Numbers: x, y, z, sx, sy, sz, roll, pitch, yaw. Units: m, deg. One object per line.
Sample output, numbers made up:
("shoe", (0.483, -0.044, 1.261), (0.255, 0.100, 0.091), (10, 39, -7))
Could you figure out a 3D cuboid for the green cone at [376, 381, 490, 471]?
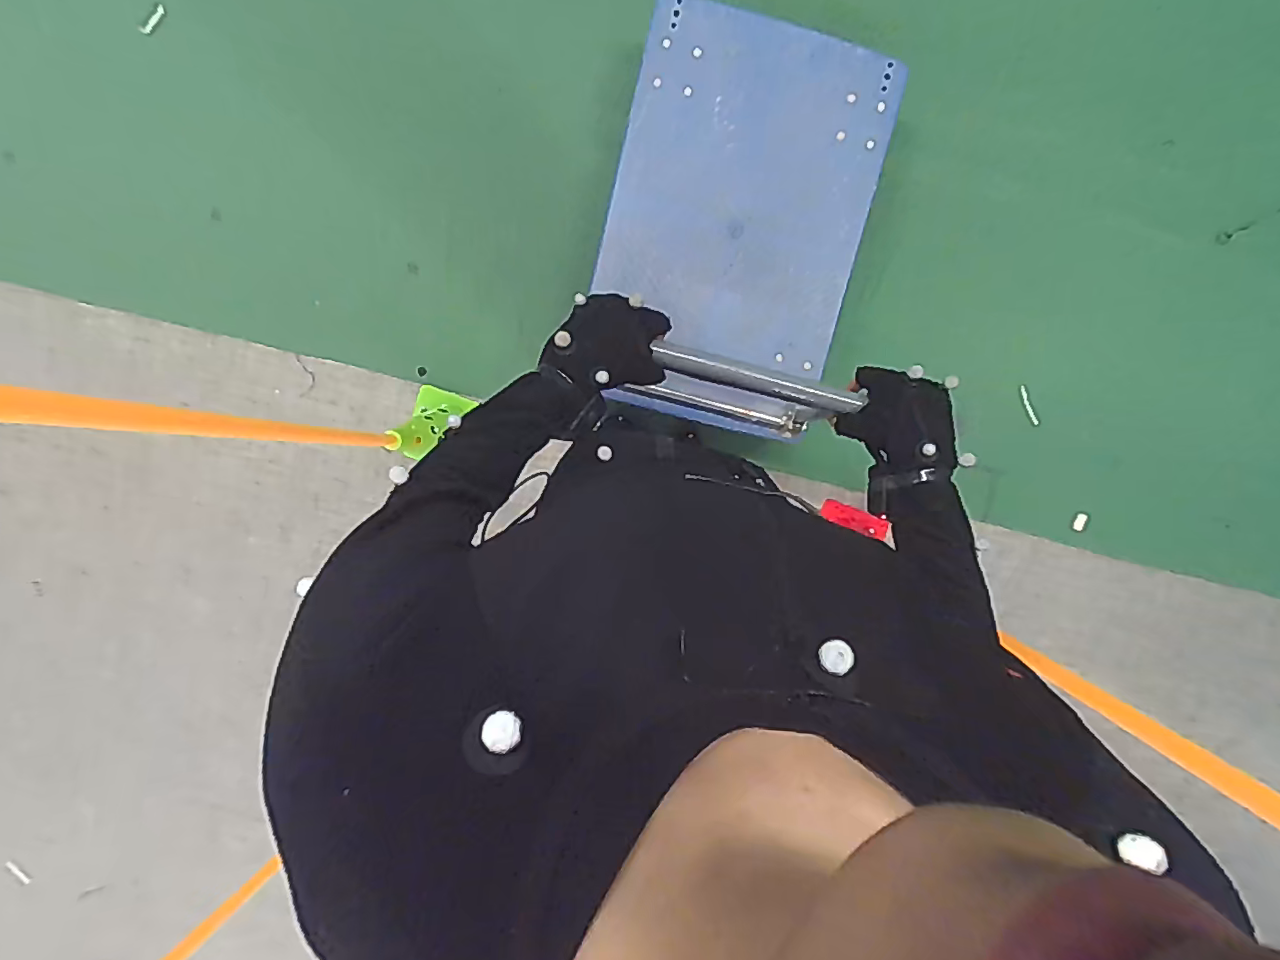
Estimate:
("green cone", (-0.513, -0.121, 1.268), (0.202, 0.368, 0.200), (19, 96, -3))
